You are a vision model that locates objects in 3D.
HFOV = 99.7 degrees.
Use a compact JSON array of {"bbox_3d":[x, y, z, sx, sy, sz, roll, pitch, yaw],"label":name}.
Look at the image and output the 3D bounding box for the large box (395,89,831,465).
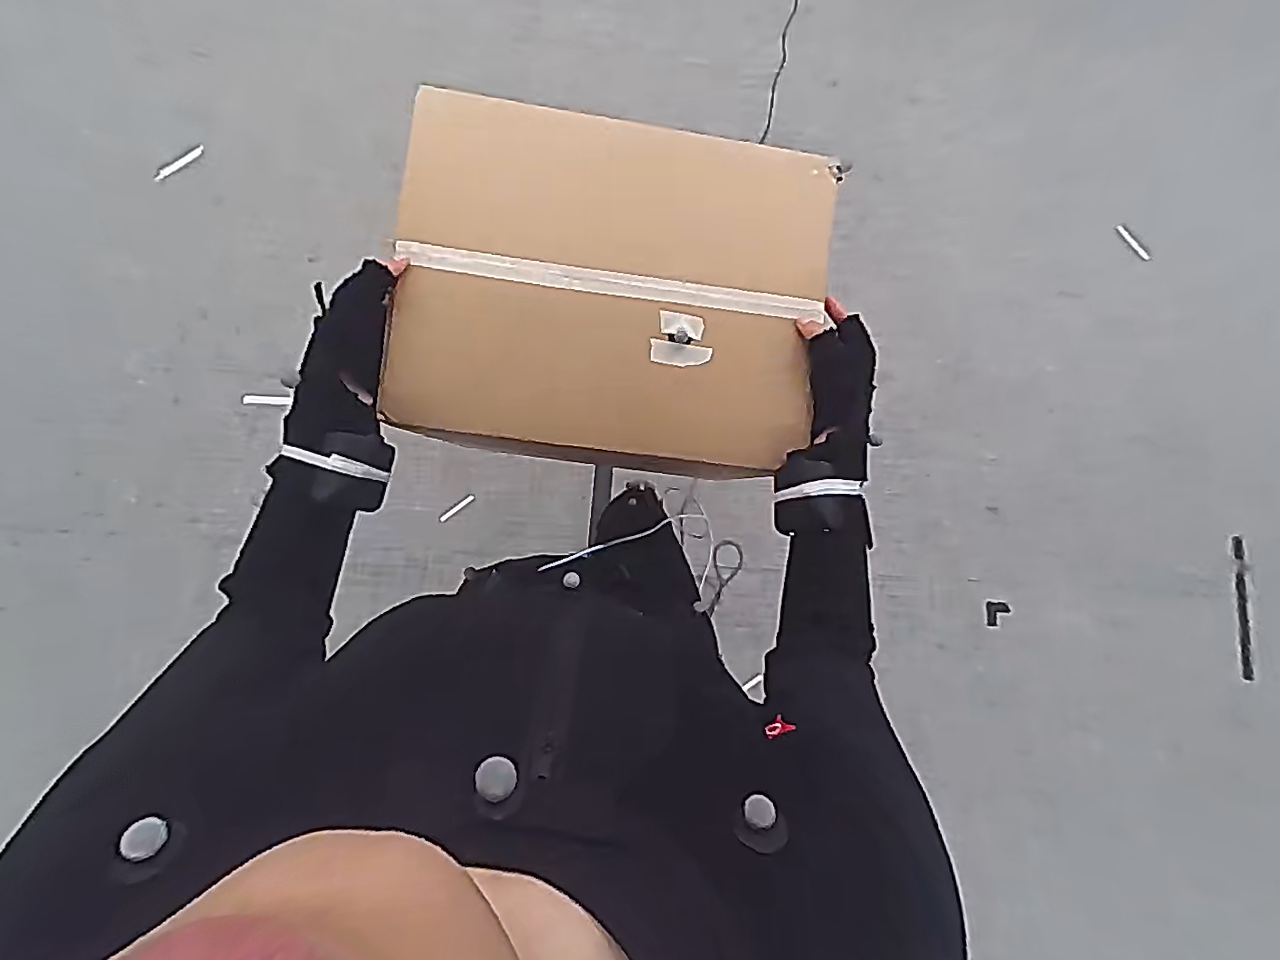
[{"bbox_3d":[-0.034,-0.197,0.673,0.408,0.320,0.320,7,90,-5],"label":"large box"}]
